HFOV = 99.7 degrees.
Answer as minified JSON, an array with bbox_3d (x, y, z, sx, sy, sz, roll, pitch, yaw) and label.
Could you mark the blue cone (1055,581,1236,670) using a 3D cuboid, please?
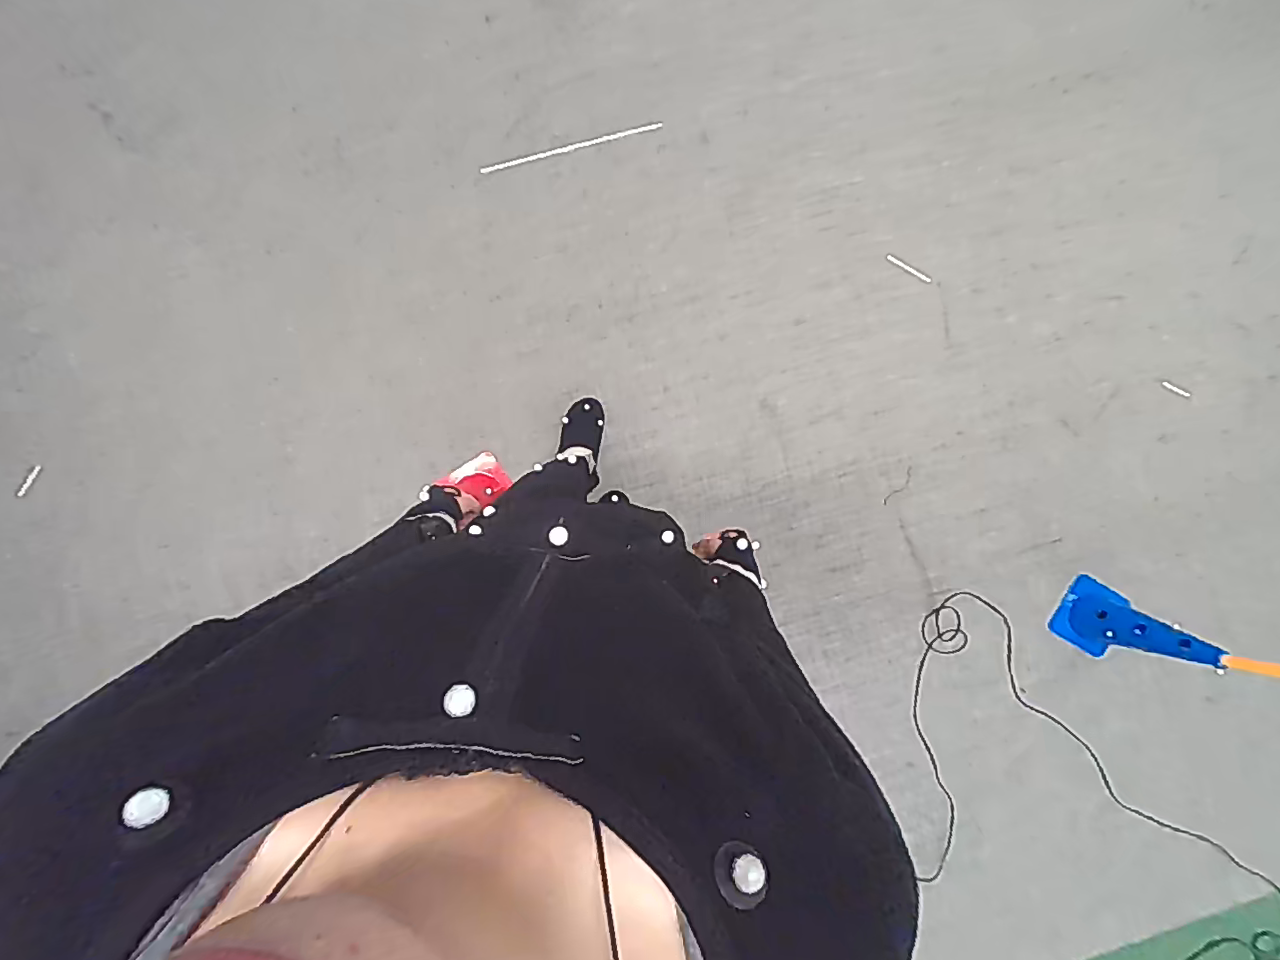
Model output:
[{"bbox_3d":[1.350,0.415,1.442,0.192,0.380,0.193,28,90,-5],"label":"blue cone"}]
